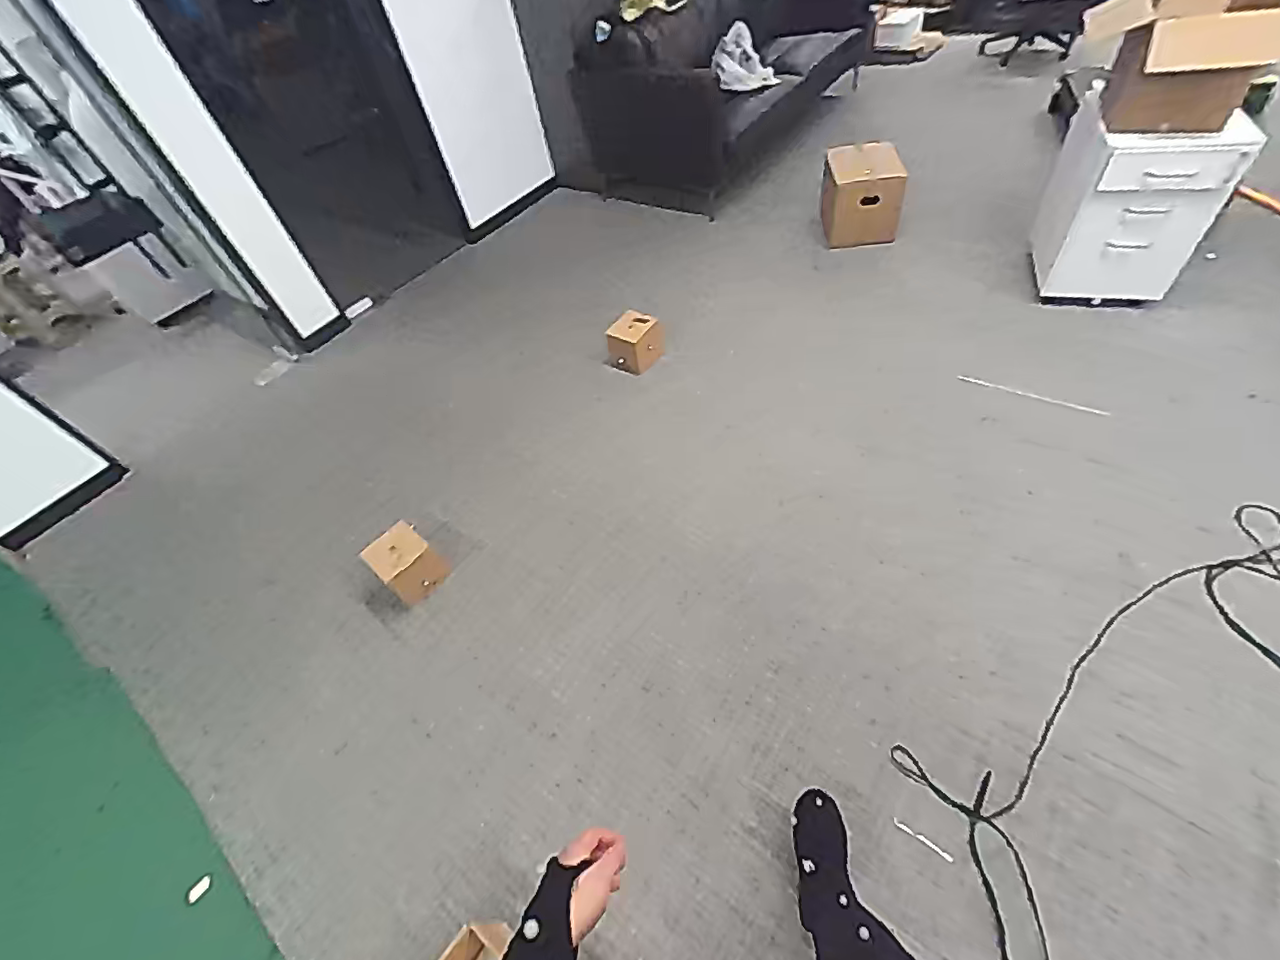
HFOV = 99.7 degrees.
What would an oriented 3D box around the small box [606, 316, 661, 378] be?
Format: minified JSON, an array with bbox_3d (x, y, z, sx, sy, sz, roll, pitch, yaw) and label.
[{"bbox_3d":[-0.023,-0.576,2.340,0.168,0.176,0.179,26,60,29],"label":"small box"}]

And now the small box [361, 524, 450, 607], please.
[{"bbox_3d":[-0.754,0.281,1.752,0.179,0.176,0.168,31,62,31],"label":"small box"}]
